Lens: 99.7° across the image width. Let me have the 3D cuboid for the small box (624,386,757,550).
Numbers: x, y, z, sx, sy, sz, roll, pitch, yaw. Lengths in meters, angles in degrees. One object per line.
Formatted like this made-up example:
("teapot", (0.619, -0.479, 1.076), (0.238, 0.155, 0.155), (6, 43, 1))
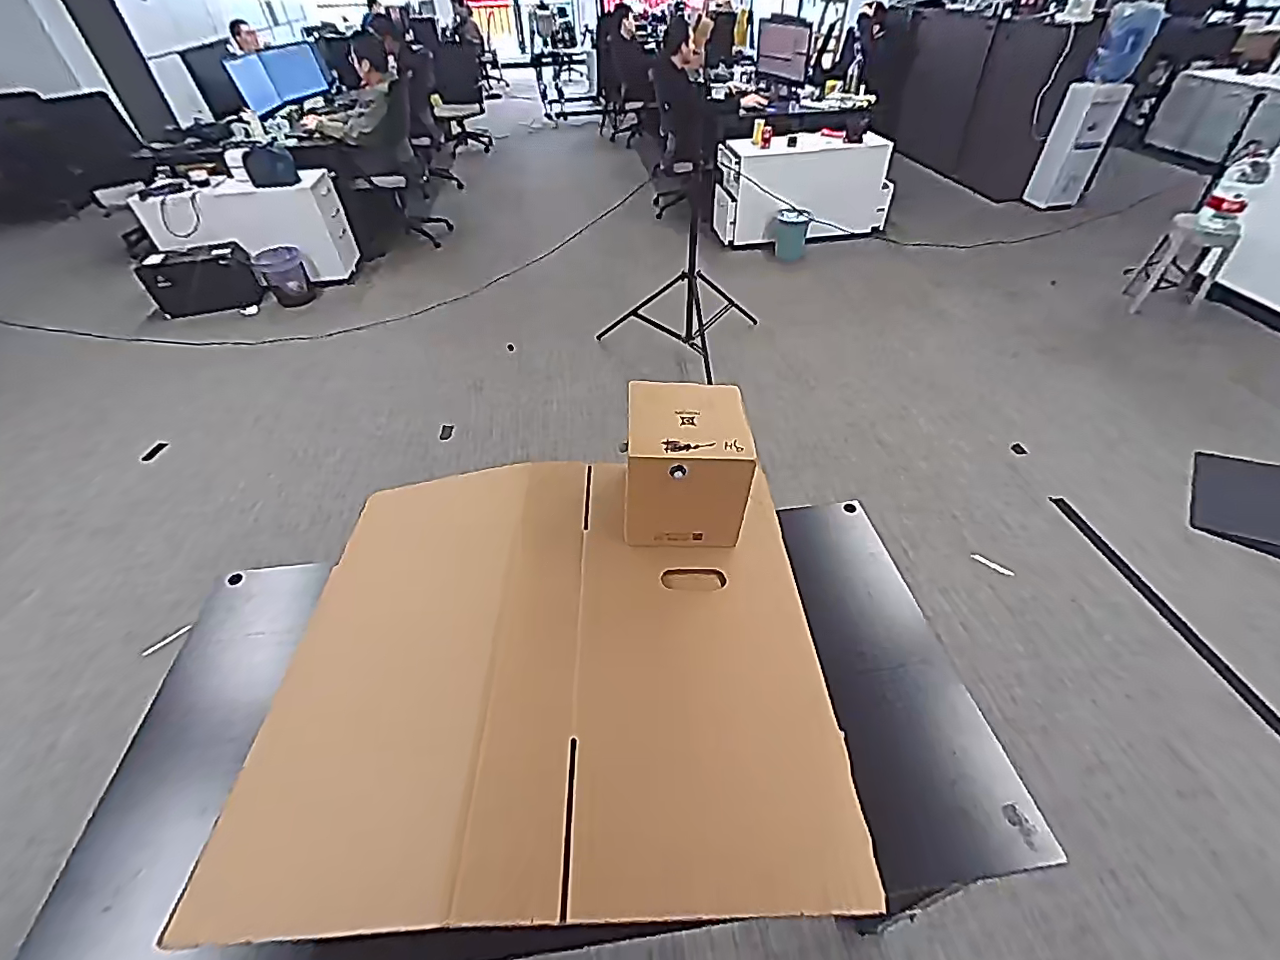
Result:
("small box", (0.062, -0.020, 0.792), (0.168, 0.176, 0.179), (1, 41, -2))
